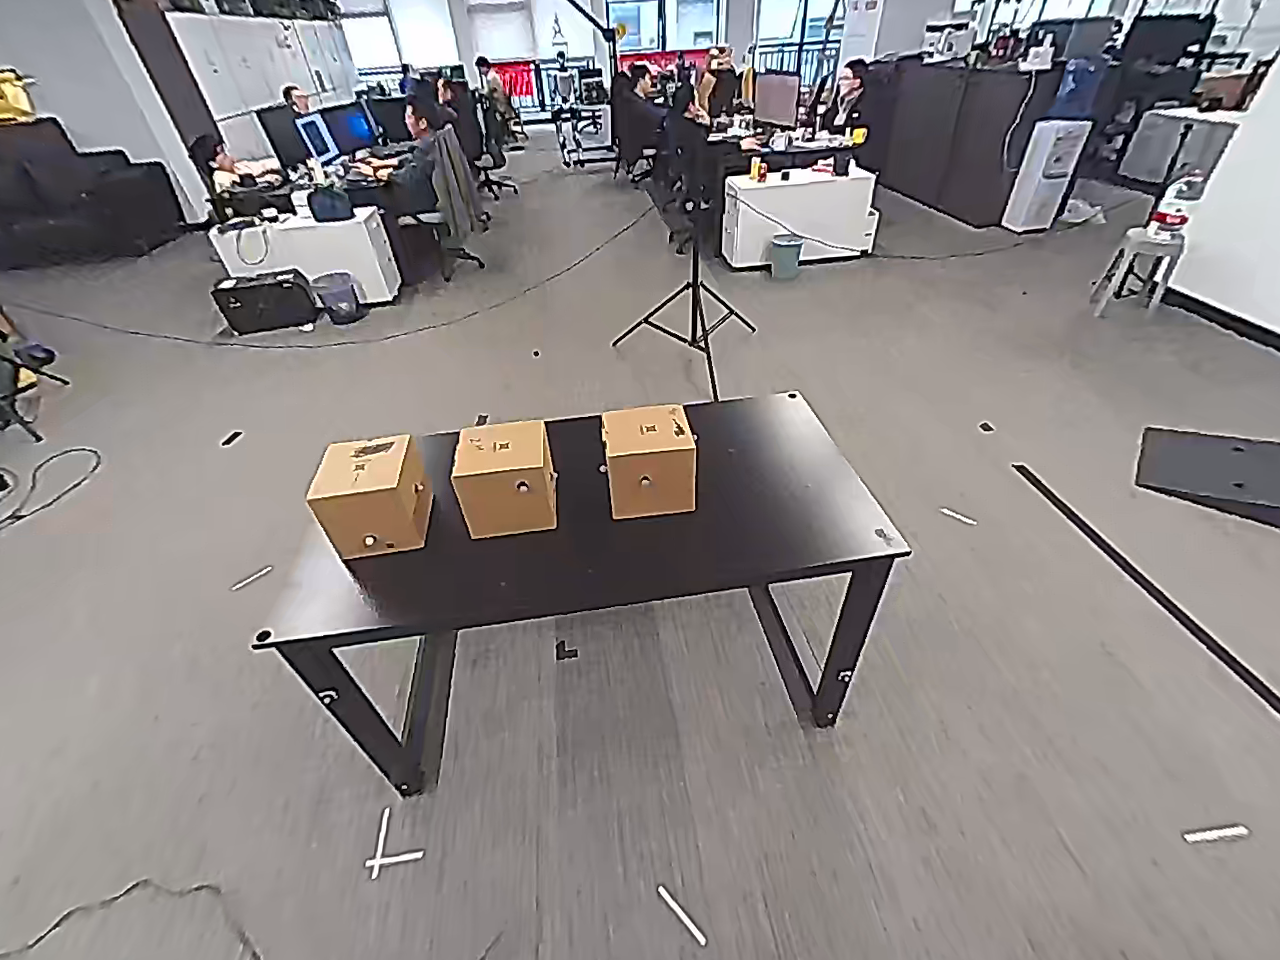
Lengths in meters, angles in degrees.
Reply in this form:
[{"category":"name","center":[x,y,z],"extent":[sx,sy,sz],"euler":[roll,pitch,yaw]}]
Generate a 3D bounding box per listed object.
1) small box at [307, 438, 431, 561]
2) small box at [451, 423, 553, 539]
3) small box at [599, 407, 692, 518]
[{"category":"small box","center":[-0.541,0.039,1.109],"extent":[0.168,0.176,0.179],"euler":[-9,41,-6]},{"category":"small box","center":[-0.277,0.003,1.130],"extent":[0.179,0.176,0.168],"euler":[-8,39,-5]},{"category":"small box","center":[0.013,-0.034,1.154],"extent":[0.179,0.176,0.168],"euler":[-7,40,-2]}]
